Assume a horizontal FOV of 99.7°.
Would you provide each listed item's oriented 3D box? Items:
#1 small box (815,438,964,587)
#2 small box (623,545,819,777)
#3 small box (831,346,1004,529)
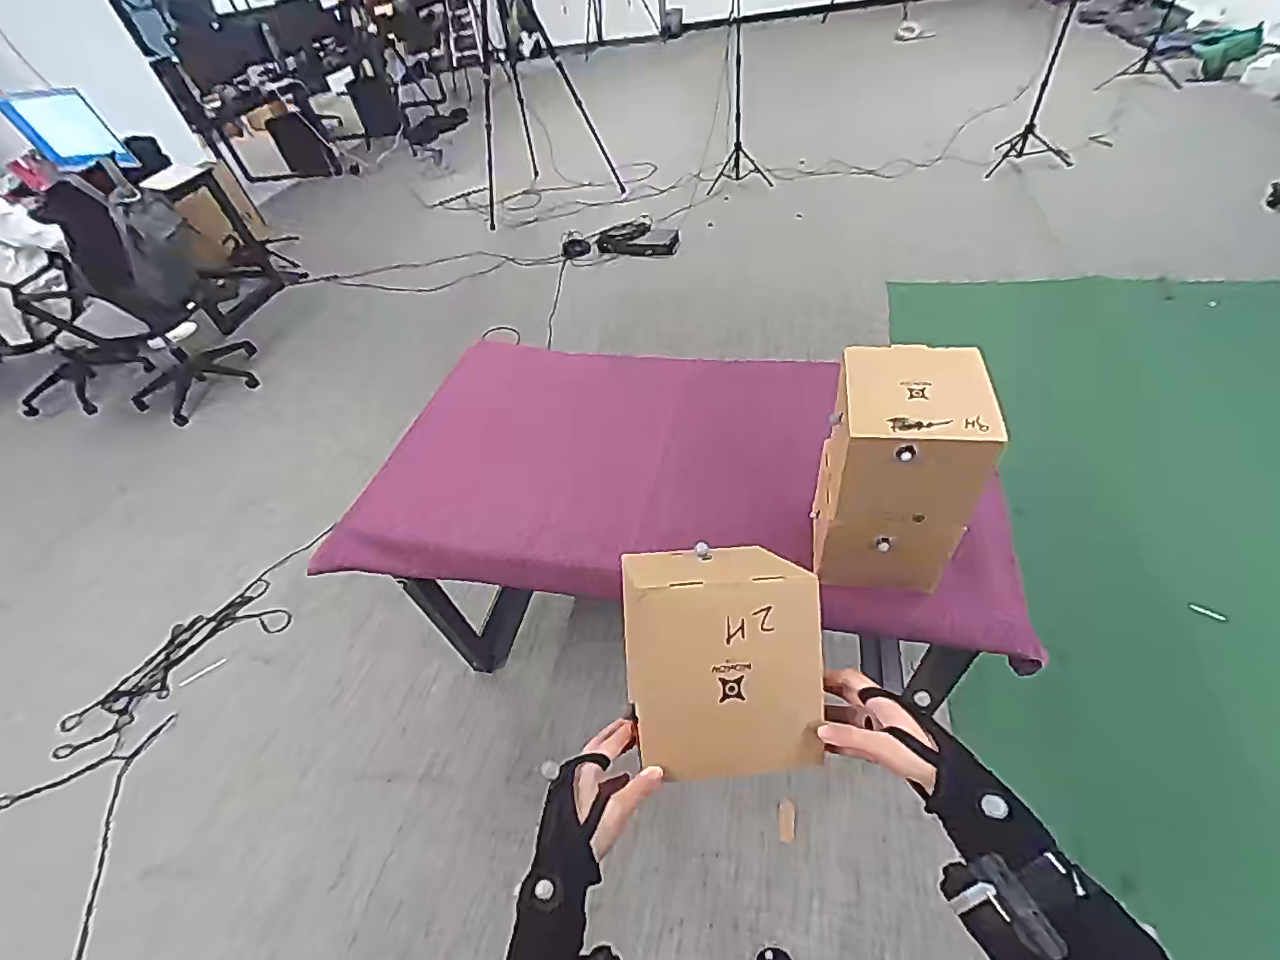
[{"bbox_3d":[0.371,0.052,0.838,0.179,0.176,0.168,2,50,15],"label":"small box"},{"bbox_3d":[0.071,0.170,0.558,0.168,0.176,0.179,-3,91,-6],"label":"small box"},{"bbox_3d":[0.348,-0.058,0.718,0.168,0.176,0.179,2,49,16],"label":"small box"}]
